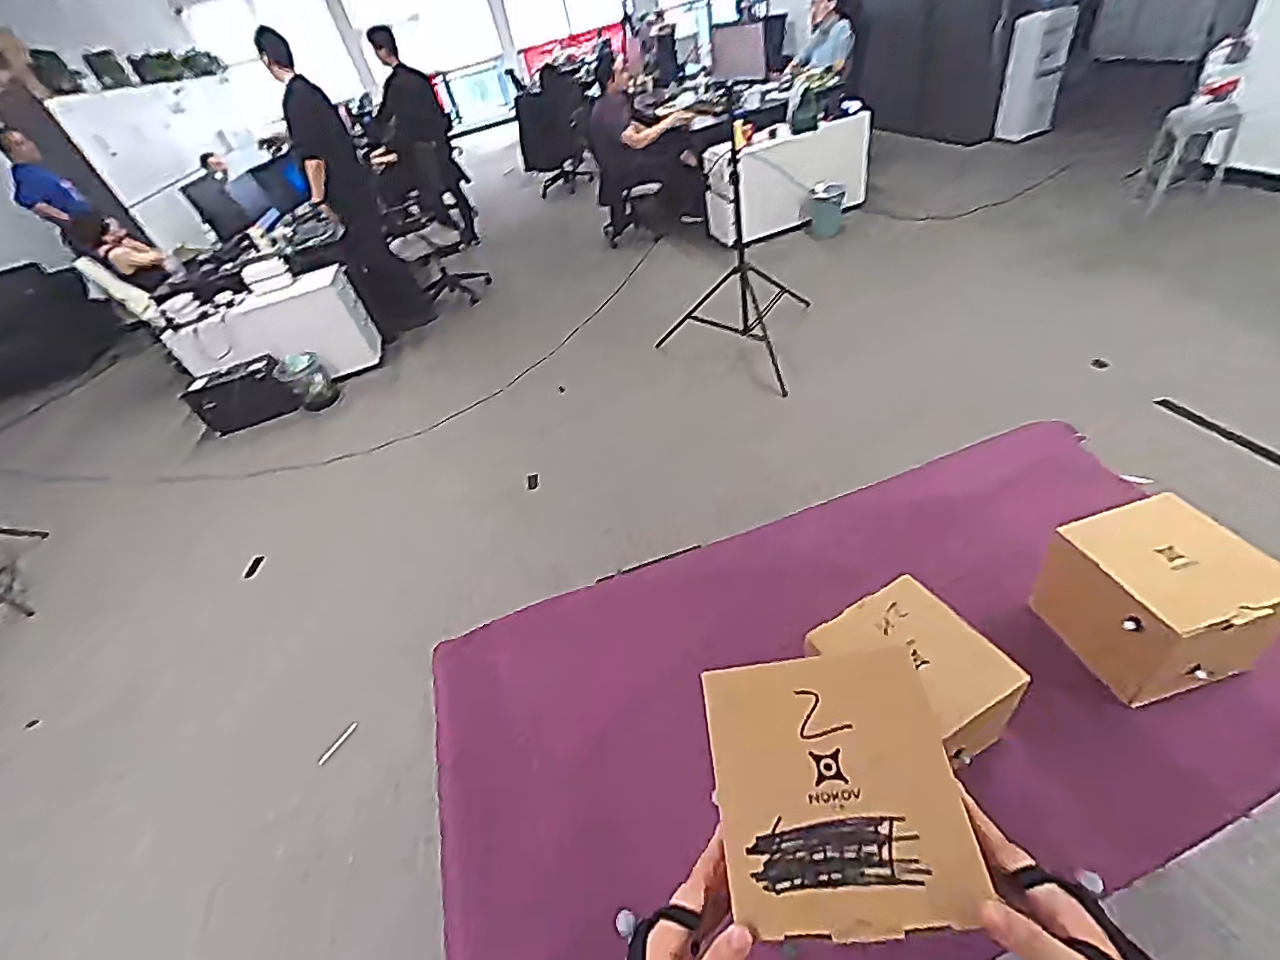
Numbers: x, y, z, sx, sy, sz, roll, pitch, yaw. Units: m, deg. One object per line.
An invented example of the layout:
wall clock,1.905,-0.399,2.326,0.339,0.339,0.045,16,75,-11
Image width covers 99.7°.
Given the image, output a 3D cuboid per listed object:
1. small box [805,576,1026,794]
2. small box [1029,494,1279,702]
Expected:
small box,0.331,0.263,0.684,0.168,0.176,0.179,-26,42,-12
small box,0.657,0.152,0.704,0.168,0.176,0.179,-18,40,-2
